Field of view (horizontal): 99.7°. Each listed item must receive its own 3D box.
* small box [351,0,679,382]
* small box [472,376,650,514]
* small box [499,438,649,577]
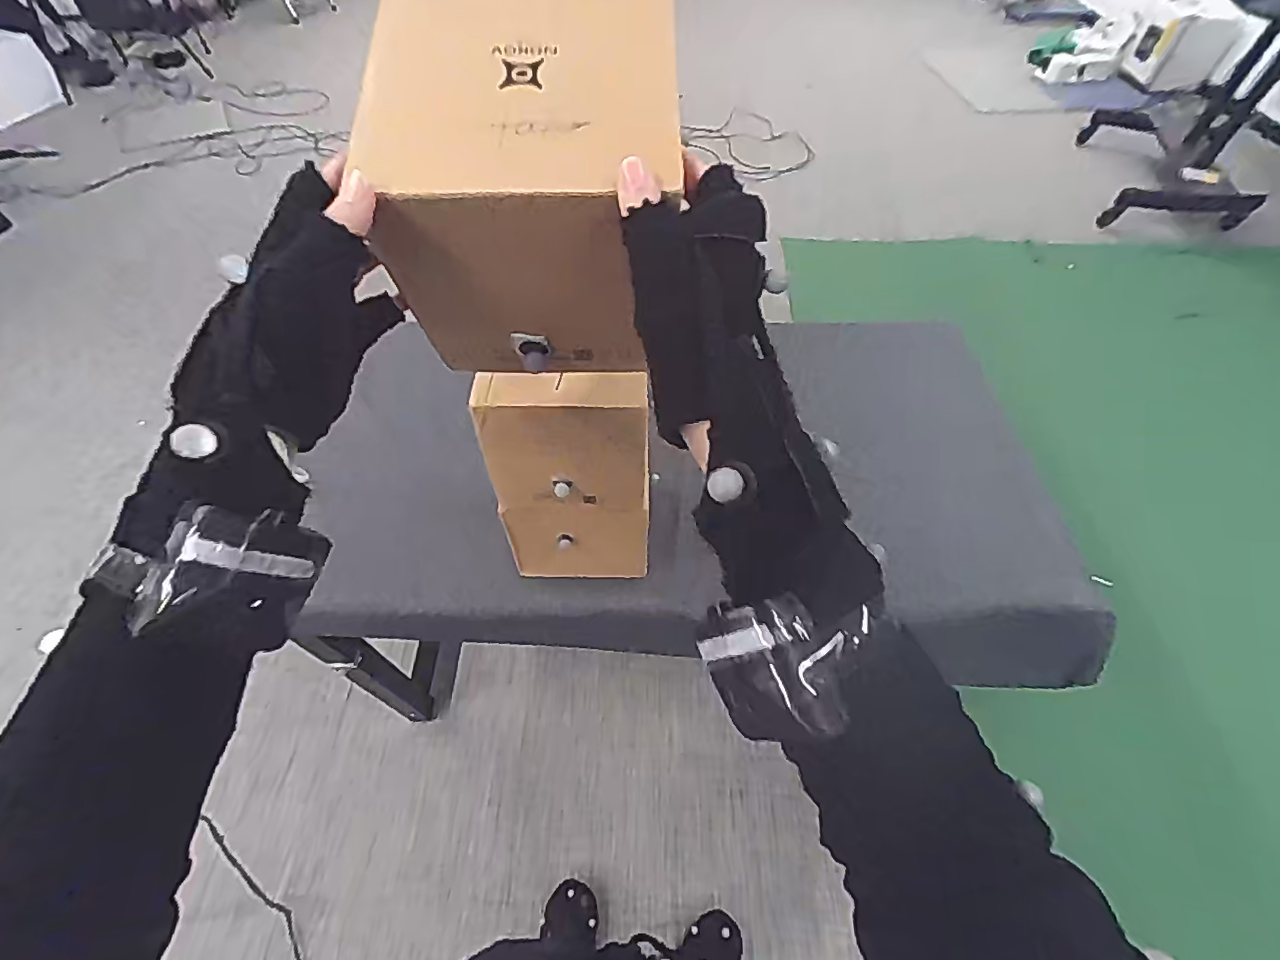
[{"bbox_3d":[-0.063,-0.187,0.372,0.168,0.176,0.179,0,69,0],"label":"small box"},{"bbox_3d":[-0.074,-0.082,0.609,0.168,0.176,0.179,2,52,0],"label":"small box"},{"bbox_3d":[-0.077,0.023,0.737,0.179,0.176,0.168,1,52,0],"label":"small box"}]
